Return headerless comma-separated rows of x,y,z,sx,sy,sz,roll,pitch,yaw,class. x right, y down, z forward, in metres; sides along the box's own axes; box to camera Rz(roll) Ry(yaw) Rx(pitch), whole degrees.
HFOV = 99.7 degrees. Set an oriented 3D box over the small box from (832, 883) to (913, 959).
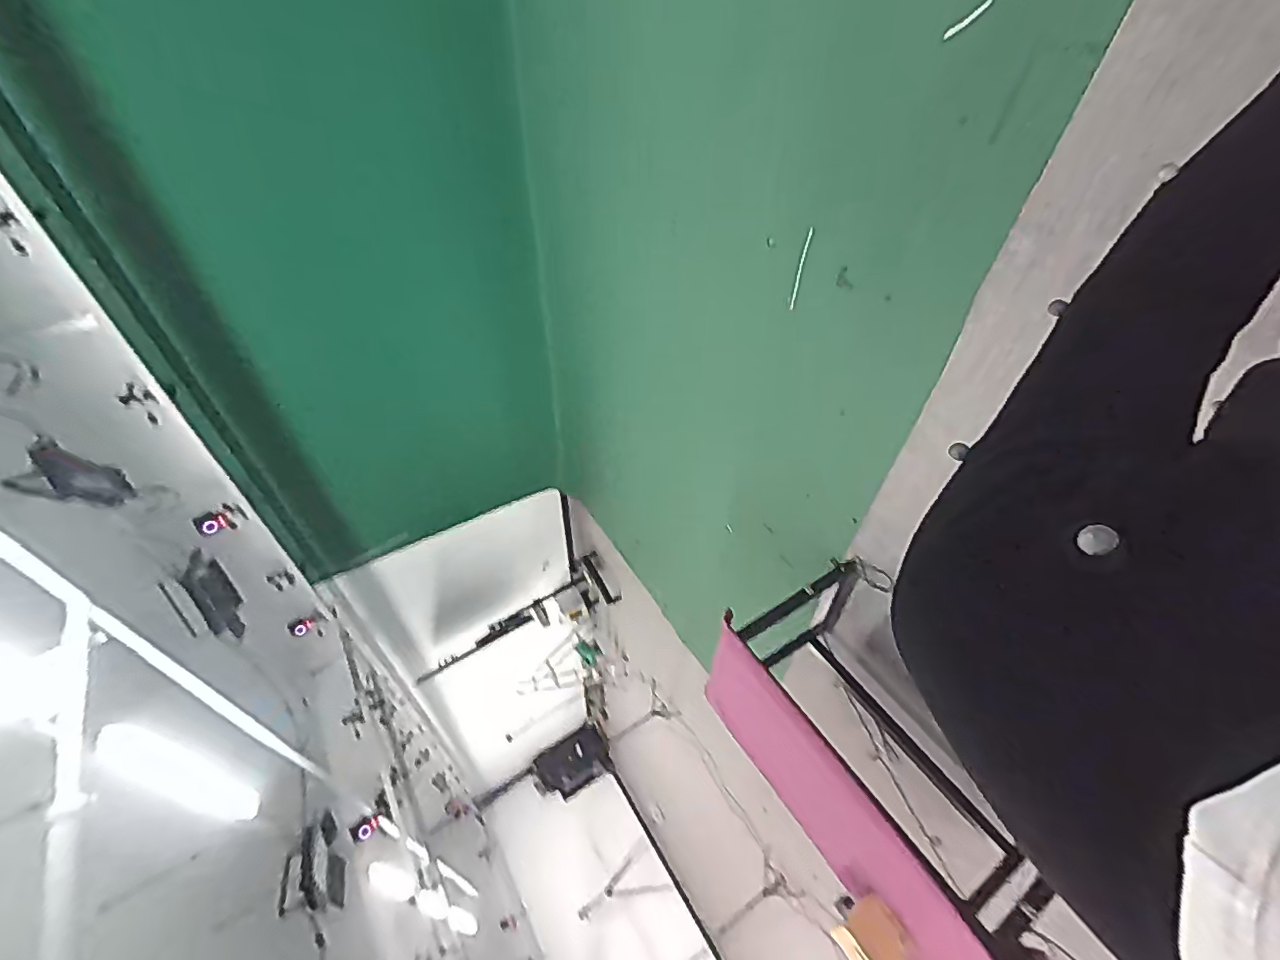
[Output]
0.810,1.544,1.878,0.168,0.176,0.179,49,151,33,small box
